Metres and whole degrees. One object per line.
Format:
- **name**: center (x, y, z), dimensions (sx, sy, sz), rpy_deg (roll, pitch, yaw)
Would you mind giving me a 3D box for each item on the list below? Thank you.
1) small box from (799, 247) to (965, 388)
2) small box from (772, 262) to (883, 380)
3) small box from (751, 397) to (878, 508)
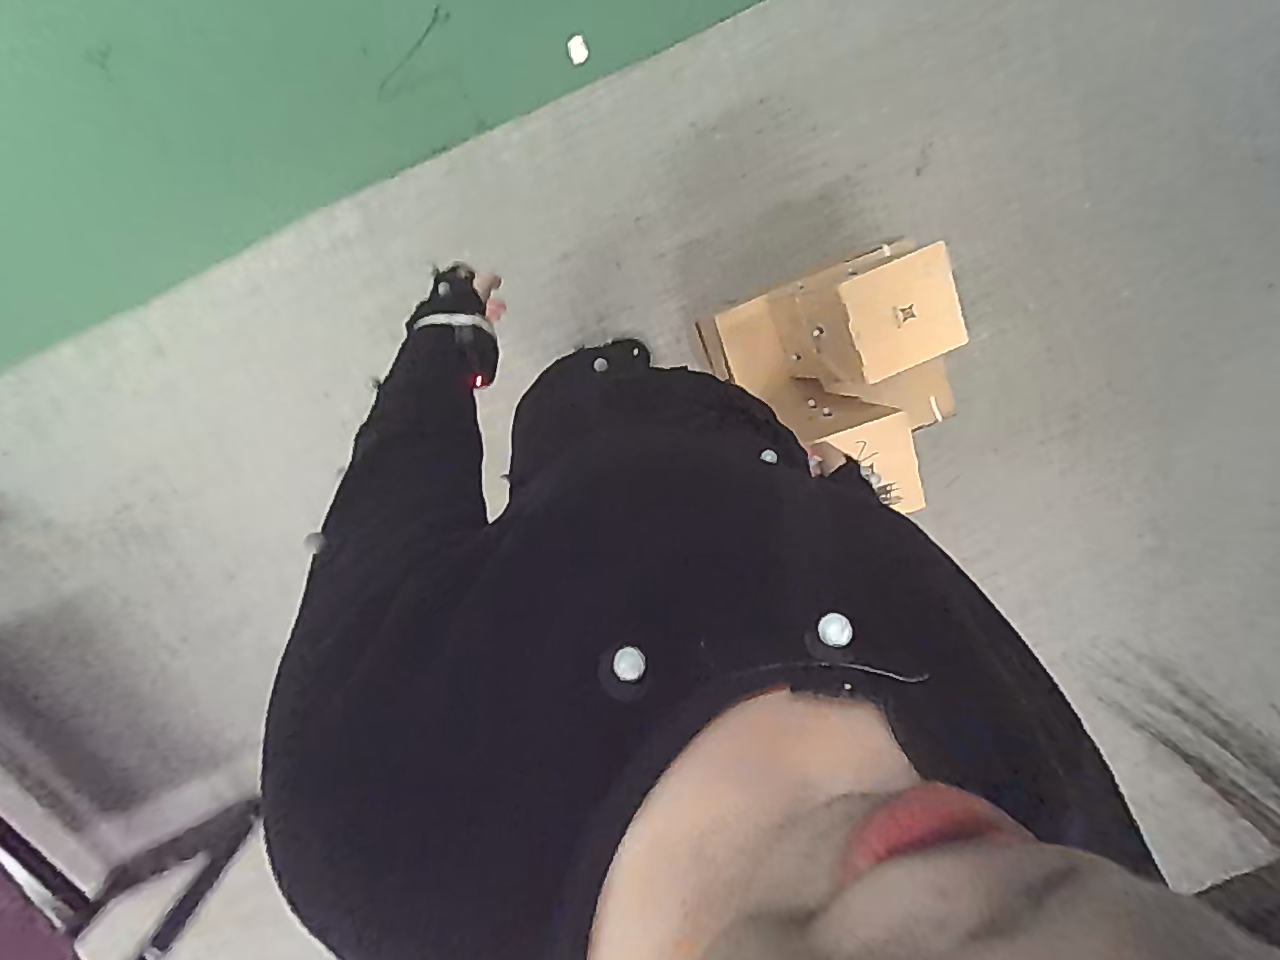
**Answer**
- **small box**: center (0.395, -0.266, 0.905), dimensions (0.179, 0.176, 0.168), rpy_deg (-22, 104, 0)
- **small box**: center (0.376, -0.303, 1.062), dimensions (0.179, 0.176, 0.168), rpy_deg (-22, 104, -2)
- **small box**: center (0.351, -0.065, 1.110), dimensions (0.179, 0.176, 0.168), rpy_deg (-20, 104, -2)
